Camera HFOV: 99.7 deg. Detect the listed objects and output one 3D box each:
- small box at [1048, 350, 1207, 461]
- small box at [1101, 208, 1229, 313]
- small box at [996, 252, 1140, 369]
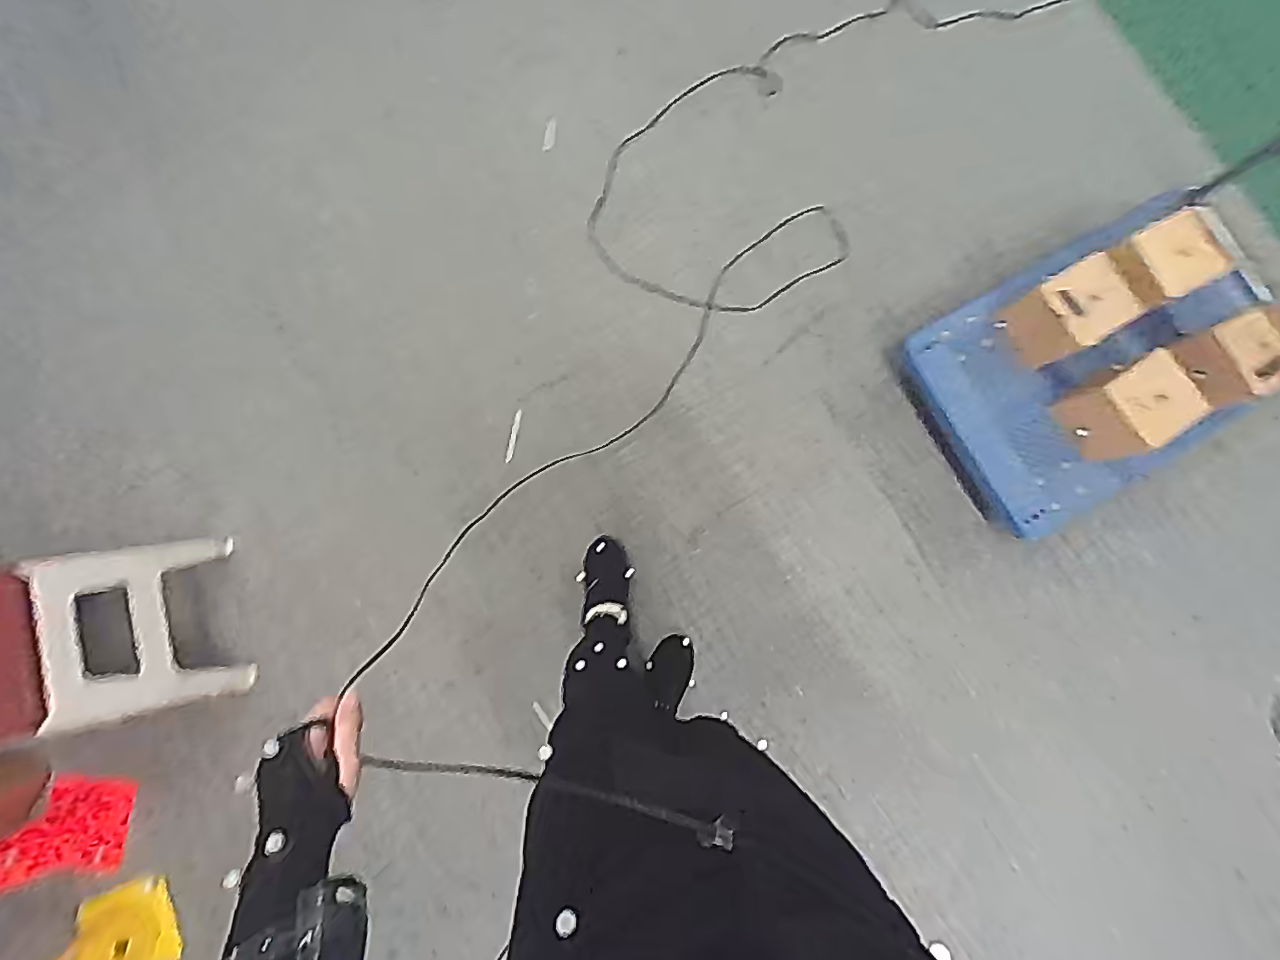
[{"bbox_3d":[1.102,-0.162,1.238,0.179,0.176,0.168,-33,85,-6],"label":"small box"},{"bbox_3d":[1.197,-0.496,1.282,0.179,0.176,0.168,-27,85,-6],"label":"small box"},{"bbox_3d":[0.977,-0.383,1.259,0.179,0.176,0.168,-30,86,-6],"label":"small box"}]
